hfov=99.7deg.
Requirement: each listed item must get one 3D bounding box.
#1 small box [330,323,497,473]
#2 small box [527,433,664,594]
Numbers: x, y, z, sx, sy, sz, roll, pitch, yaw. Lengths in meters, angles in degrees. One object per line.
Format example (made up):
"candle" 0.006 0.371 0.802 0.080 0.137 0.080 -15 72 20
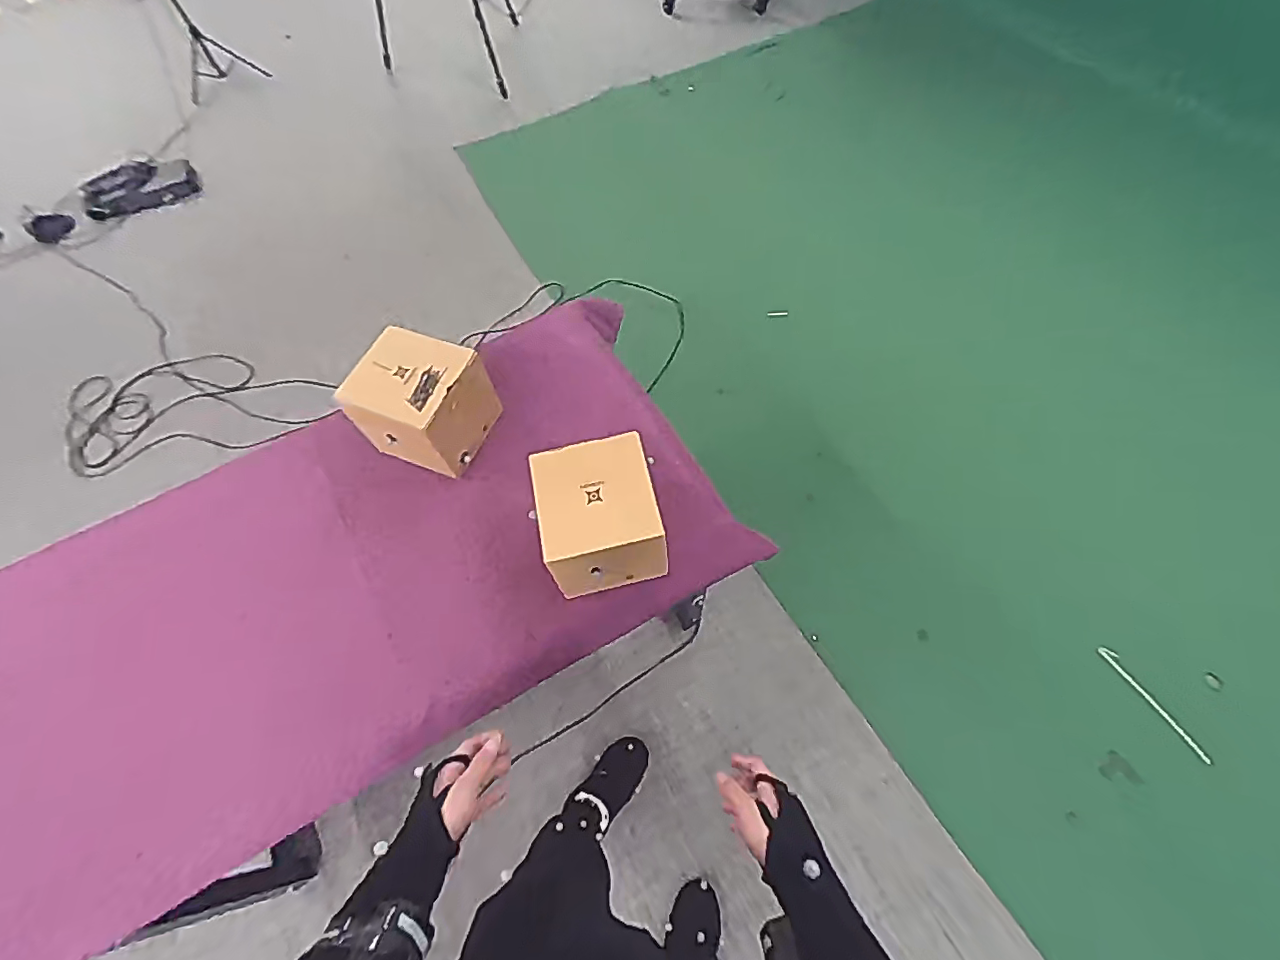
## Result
"small box" -0.372 -0.133 0.930 0.179 0.176 0.168 19 65 12
"small box" -0.061 0.060 0.814 0.168 0.176 0.179 -13 60 -3
